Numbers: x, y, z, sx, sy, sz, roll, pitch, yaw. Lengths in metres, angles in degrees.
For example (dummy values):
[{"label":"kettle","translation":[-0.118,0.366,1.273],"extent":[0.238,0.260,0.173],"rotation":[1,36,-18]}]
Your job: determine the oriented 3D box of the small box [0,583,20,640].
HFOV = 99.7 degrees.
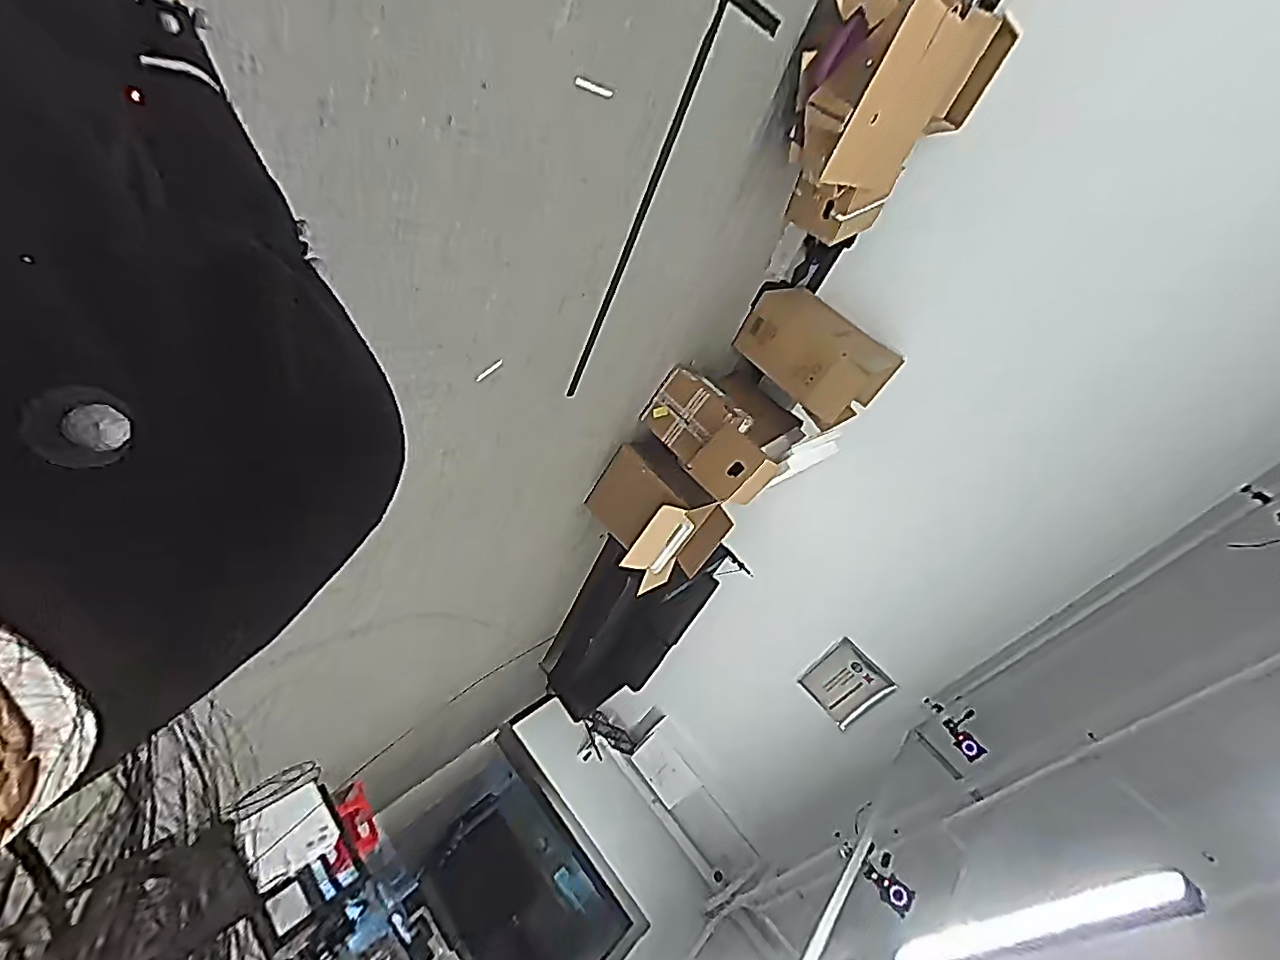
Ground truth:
[{"label":"small box","translation":[-1.460,0.255,1.122],"extent":[0.179,0.176,0.168],"rotation":[-24,149,-45]}]
